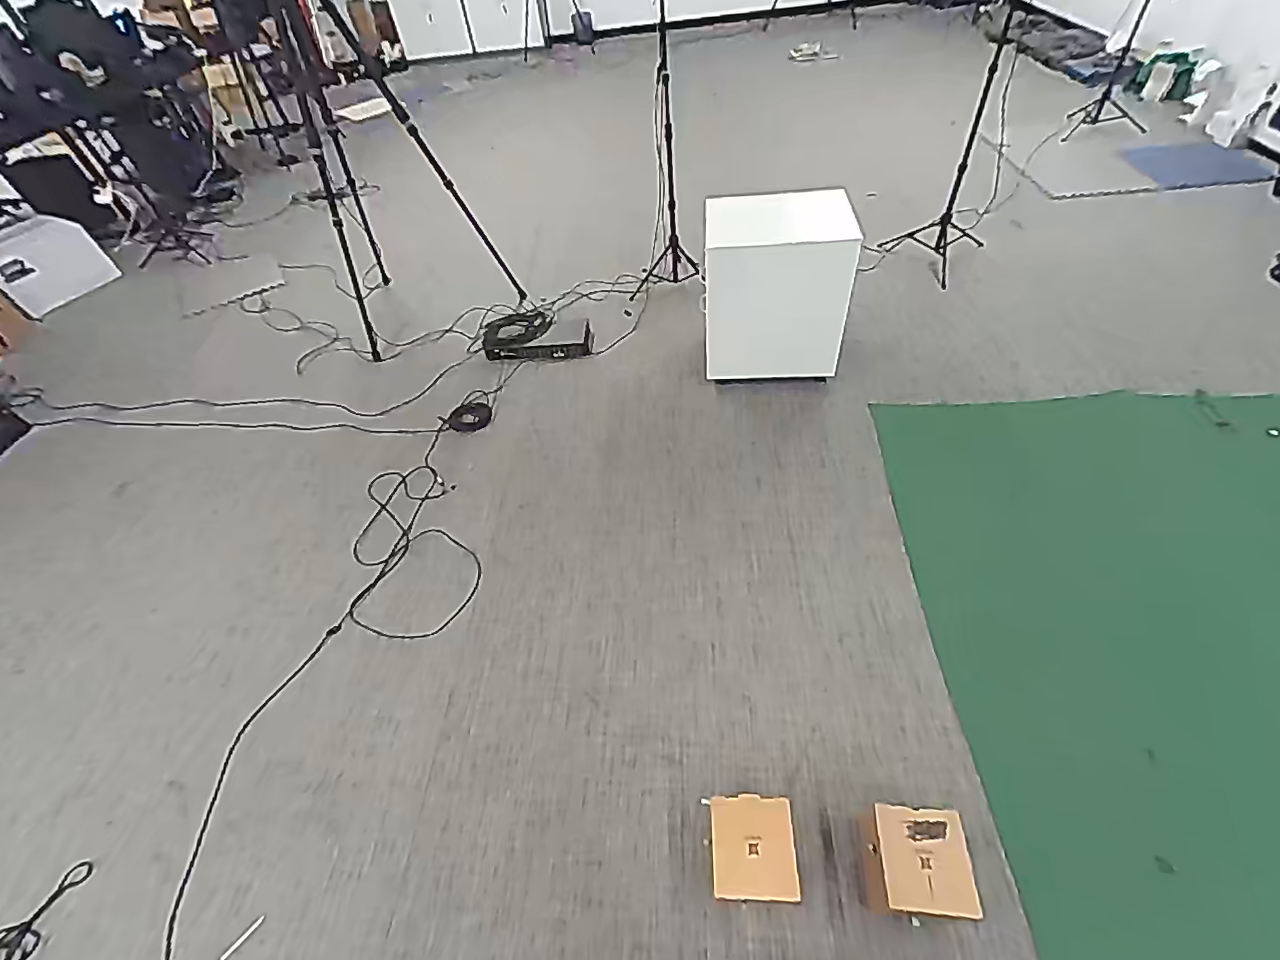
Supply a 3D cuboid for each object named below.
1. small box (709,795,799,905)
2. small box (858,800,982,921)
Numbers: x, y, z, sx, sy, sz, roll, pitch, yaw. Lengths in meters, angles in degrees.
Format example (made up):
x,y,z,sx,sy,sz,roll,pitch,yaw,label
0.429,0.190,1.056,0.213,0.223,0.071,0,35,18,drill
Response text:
x,y,z,sx,sy,sz,roll,pitch,yaw,label
0.233,0.783,1.142,0.168,0.176,0.179,-2,48,5,small box
0.557,0.778,1.104,0.168,0.176,0.179,1,50,8,small box
